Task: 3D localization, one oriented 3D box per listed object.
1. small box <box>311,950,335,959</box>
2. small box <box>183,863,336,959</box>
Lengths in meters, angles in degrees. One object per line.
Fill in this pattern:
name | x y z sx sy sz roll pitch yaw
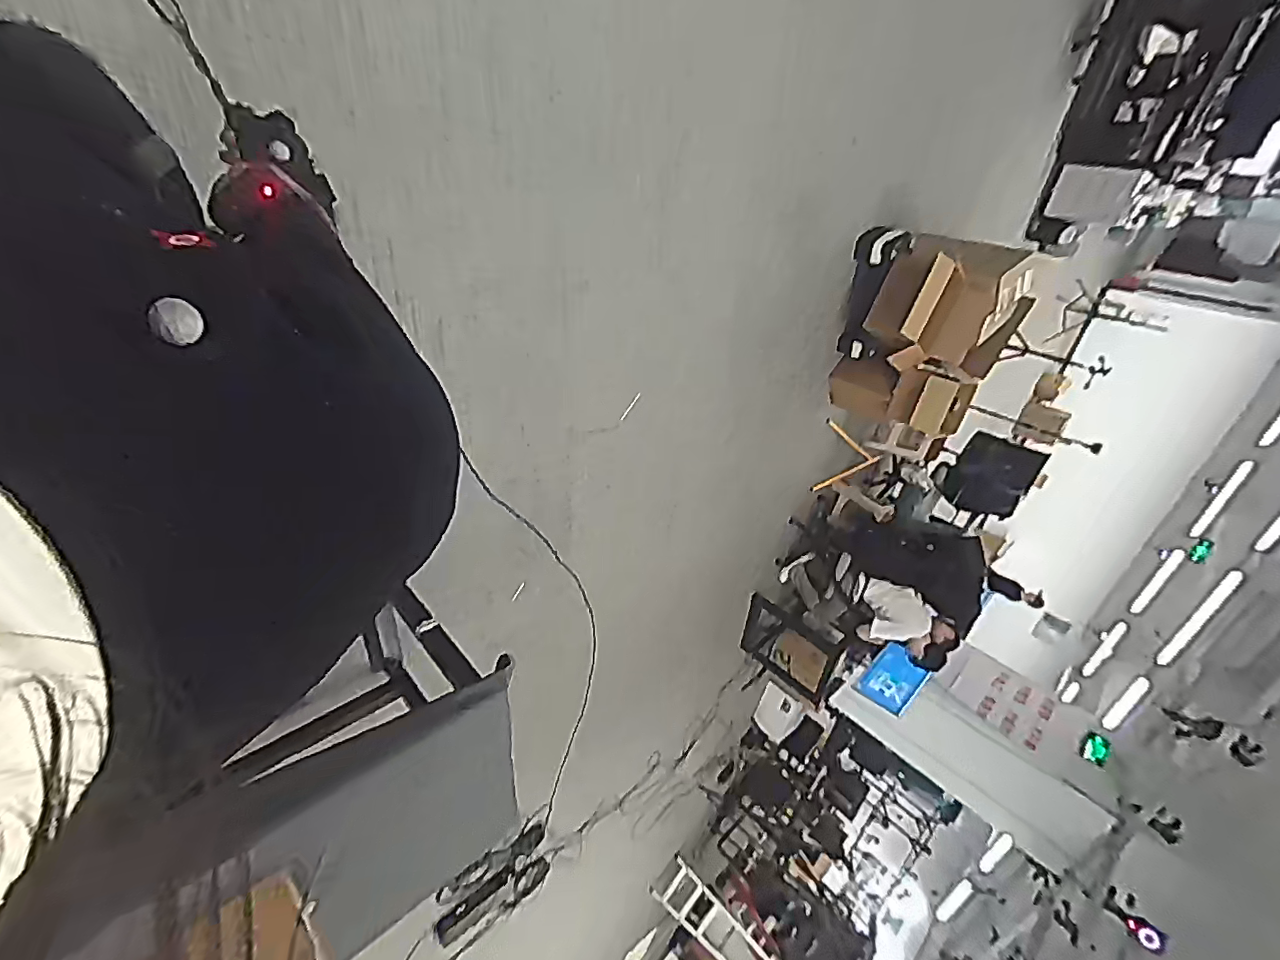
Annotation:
small box | -0.528 0.887 0.832 0.168 0.176 0.179 -24 132 -38
small box | -0.644 0.818 0.923 0.179 0.176 0.168 -24 132 -39
